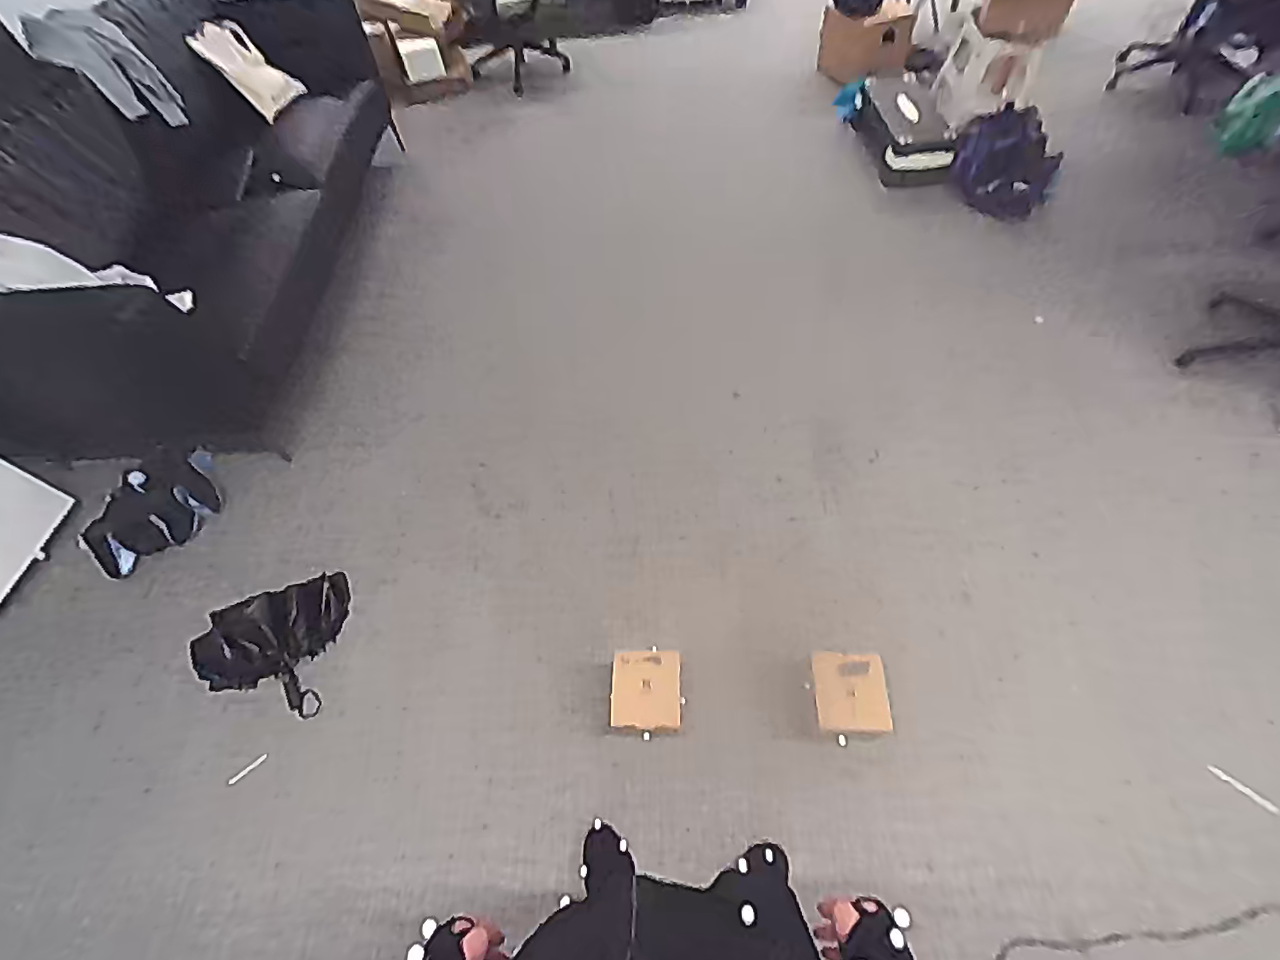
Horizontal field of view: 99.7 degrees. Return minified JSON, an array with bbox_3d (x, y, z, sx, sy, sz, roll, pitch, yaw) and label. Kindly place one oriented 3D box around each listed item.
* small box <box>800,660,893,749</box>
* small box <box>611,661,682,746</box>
[{"bbox_3d":[0.498,0.554,1.331,0.168,0.176,0.179,-1,58,5],"label":"small box"},{"bbox_3d":[0.022,0.565,1.360,0.168,0.176,0.179,0,57,4],"label":"small box"}]
